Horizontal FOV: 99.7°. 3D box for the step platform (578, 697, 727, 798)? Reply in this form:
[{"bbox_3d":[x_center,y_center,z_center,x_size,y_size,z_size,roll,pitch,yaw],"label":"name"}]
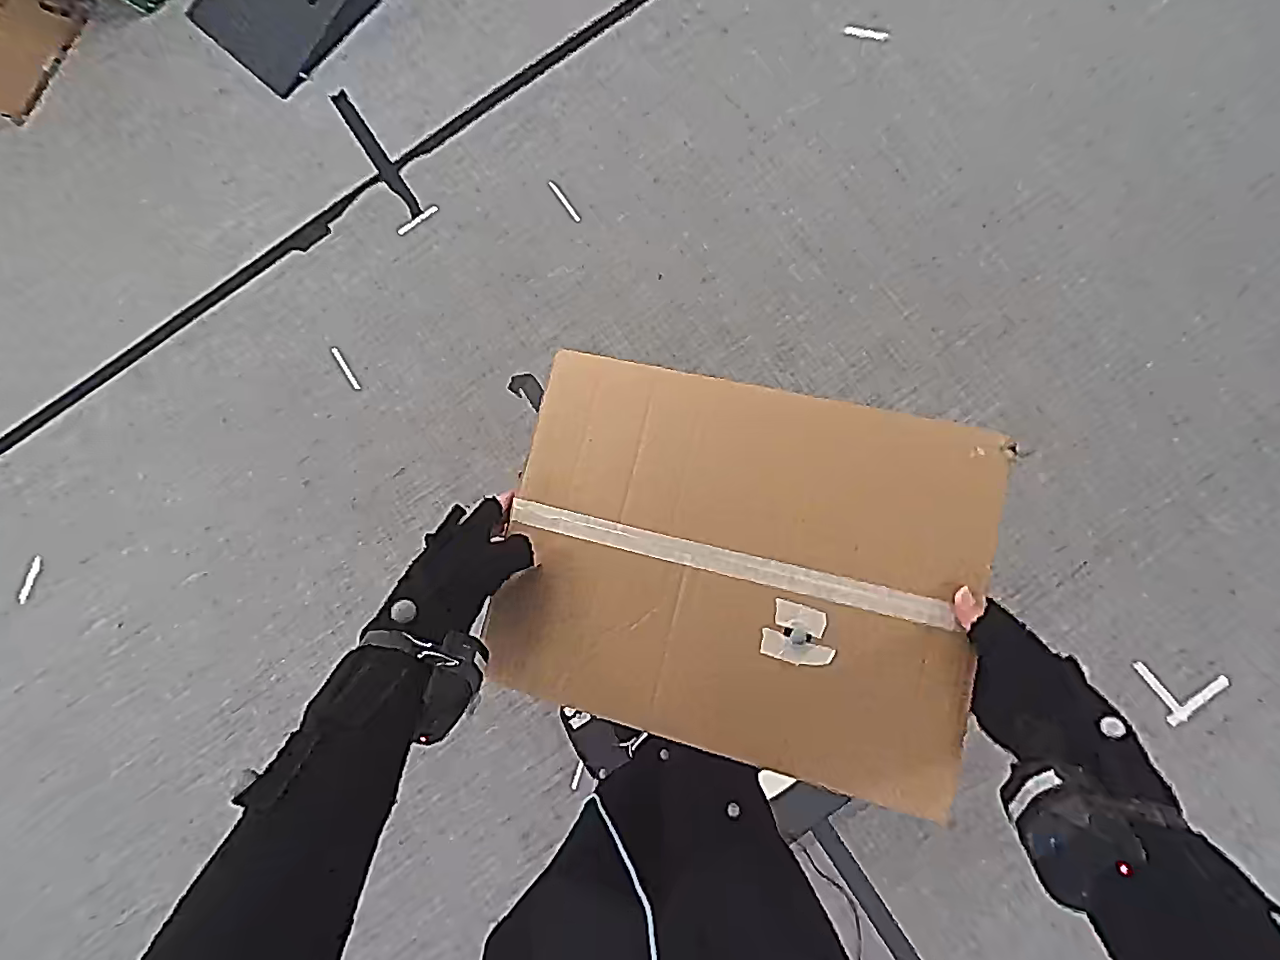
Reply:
[{"bbox_3d":[0.188,0.430,1.294,0.684,0.204,0.286,-36,81,-2],"label":"step platform"}]

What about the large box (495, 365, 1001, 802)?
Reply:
[{"bbox_3d":[0.108,0.093,0.632,0.408,0.320,0.320,14,86,11],"label":"large box"}]
